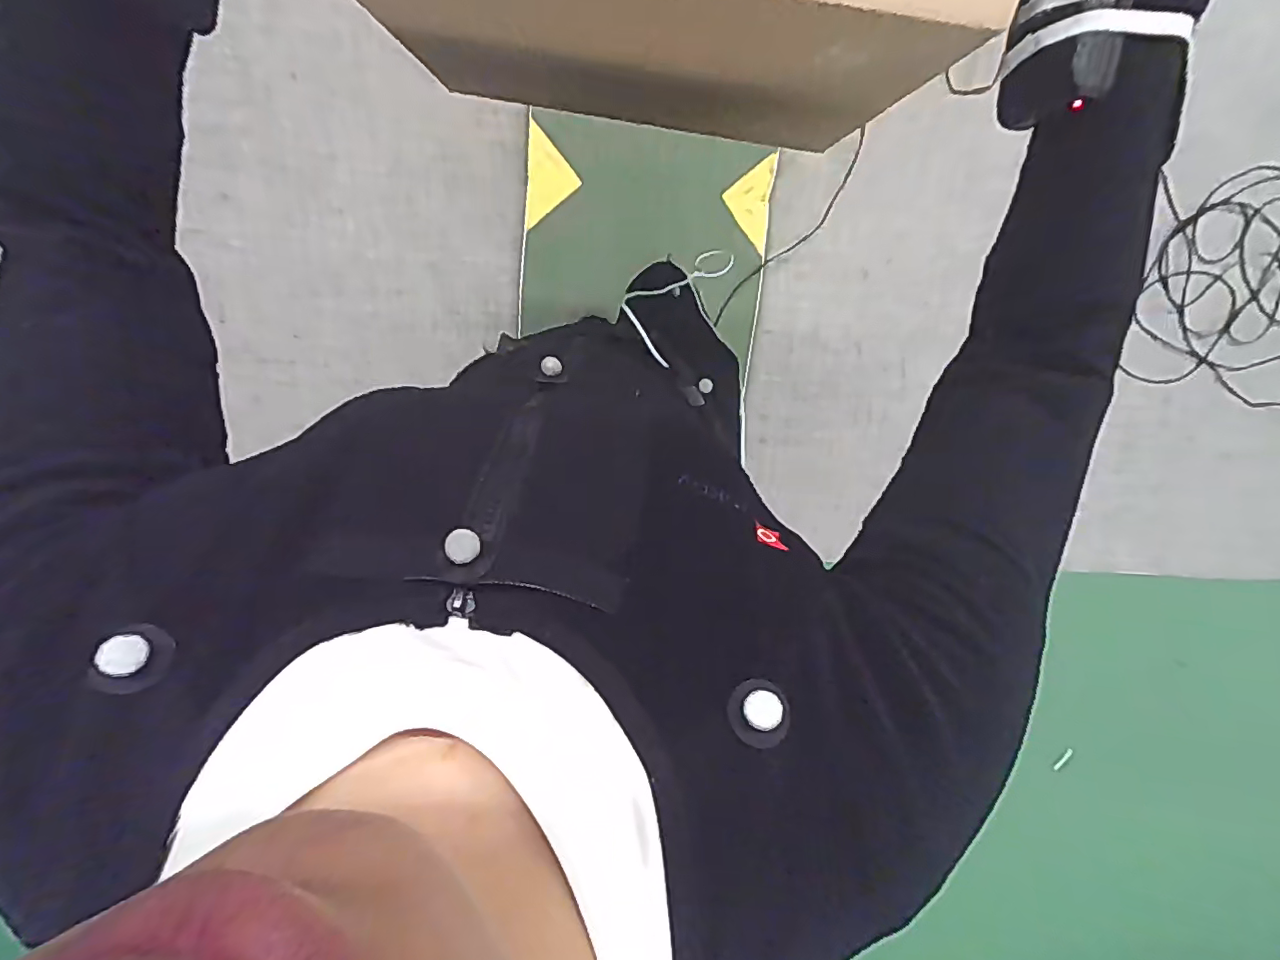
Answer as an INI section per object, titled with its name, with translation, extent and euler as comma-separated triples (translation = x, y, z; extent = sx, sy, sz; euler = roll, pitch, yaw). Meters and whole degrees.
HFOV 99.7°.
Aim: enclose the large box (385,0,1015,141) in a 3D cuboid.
[large box]
translation = 0.027, -0.473, 0.380
extent = 0.408, 0.320, 0.320
euler = 7, 111, -4
